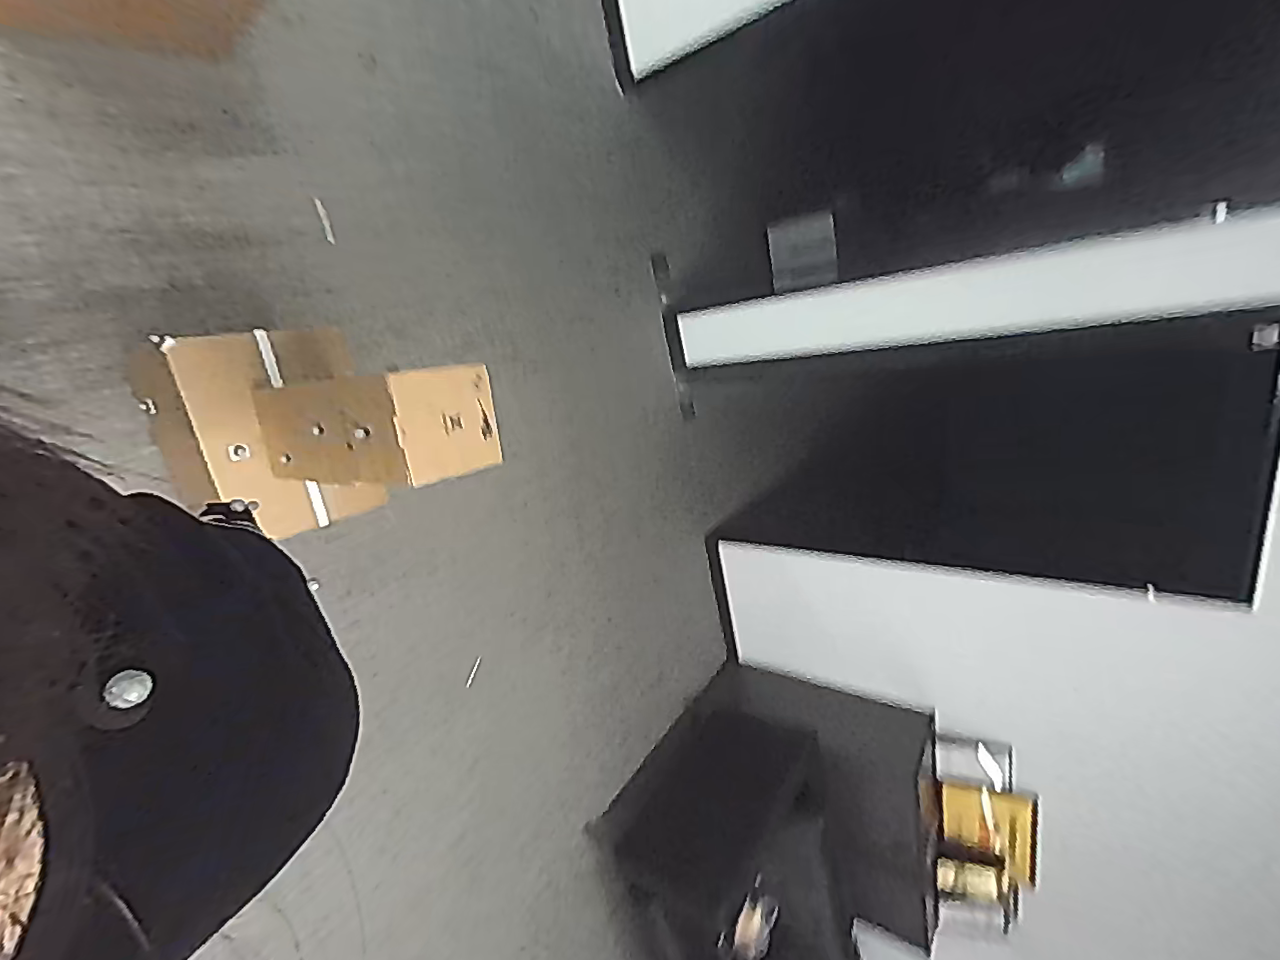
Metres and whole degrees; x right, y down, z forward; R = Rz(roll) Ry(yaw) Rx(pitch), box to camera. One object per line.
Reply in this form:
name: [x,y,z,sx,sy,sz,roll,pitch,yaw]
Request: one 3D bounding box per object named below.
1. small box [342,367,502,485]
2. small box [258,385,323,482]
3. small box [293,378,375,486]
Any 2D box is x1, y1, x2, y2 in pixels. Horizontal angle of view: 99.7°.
small box: [-0.357,-0.090,0.879,0.179,0.176,0.168,-21,110,-51]
small box: [-0.621,-0.102,1.074,0.168,0.176,0.179,-22,109,-51]
small box: [-0.490,-0.093,0.974,0.168,0.176,0.179,-20,108,-52]
